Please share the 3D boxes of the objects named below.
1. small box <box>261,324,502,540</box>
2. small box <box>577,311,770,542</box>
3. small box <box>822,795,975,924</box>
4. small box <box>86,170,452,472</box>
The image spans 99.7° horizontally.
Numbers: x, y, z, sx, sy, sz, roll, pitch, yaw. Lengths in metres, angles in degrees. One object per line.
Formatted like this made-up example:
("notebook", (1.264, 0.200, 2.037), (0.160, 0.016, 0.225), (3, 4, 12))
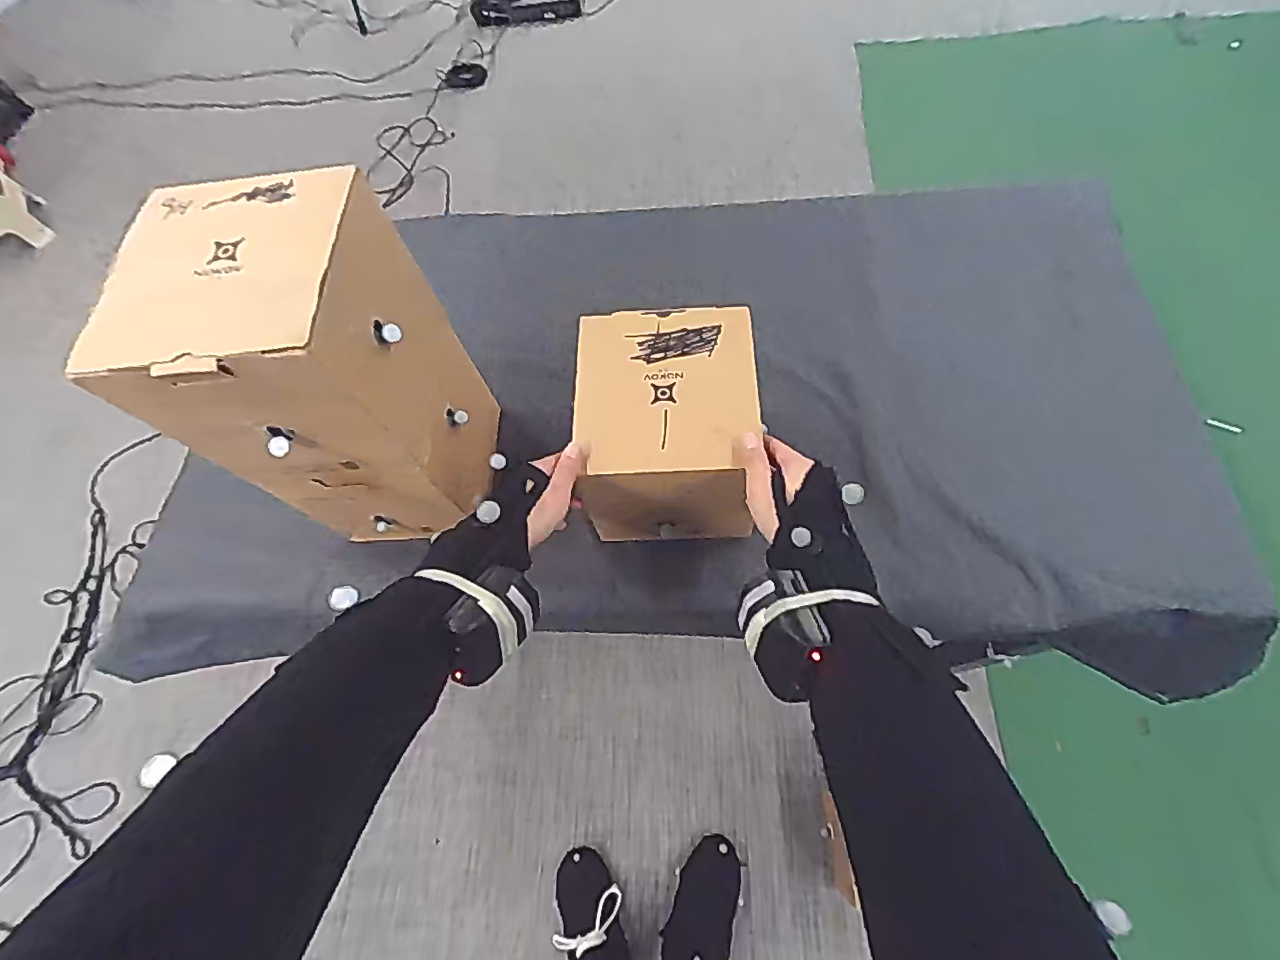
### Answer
("small box", (-0.261, -0.046, 0.597), (0.168, 0.176, 0.179), (-3, 64, 4))
("small box", (0.036, -0.047, 0.561), (0.168, 0.176, 0.179), (-3, 64, 6))
("small box", (0.451, 0.672, 0.975), (0.179, 0.176, 0.168), (-5, 61, 0))
("small box", (-0.272, -0.115, 0.449), (0.168, 0.176, 0.179), (-5, 65, 4))
